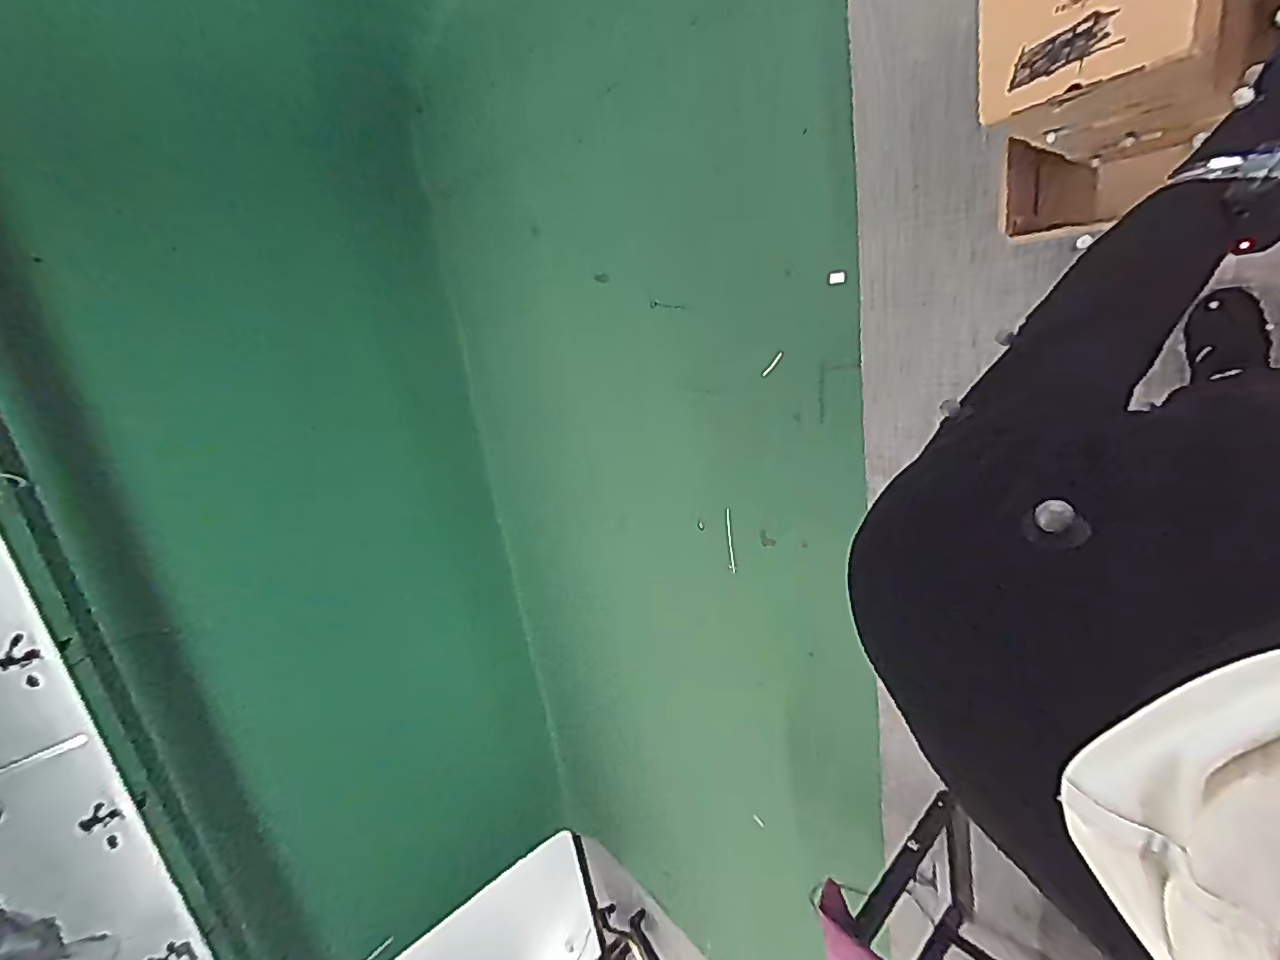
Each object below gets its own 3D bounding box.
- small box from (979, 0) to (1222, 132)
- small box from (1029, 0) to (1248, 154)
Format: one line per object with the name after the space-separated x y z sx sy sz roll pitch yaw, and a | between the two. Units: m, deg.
0.466 -0.478 0.547 0.168 0.176 0.179 8 112 49 | small box
0.592 -0.516 0.645 0.168 0.176 0.179 11 115 49 | small box
